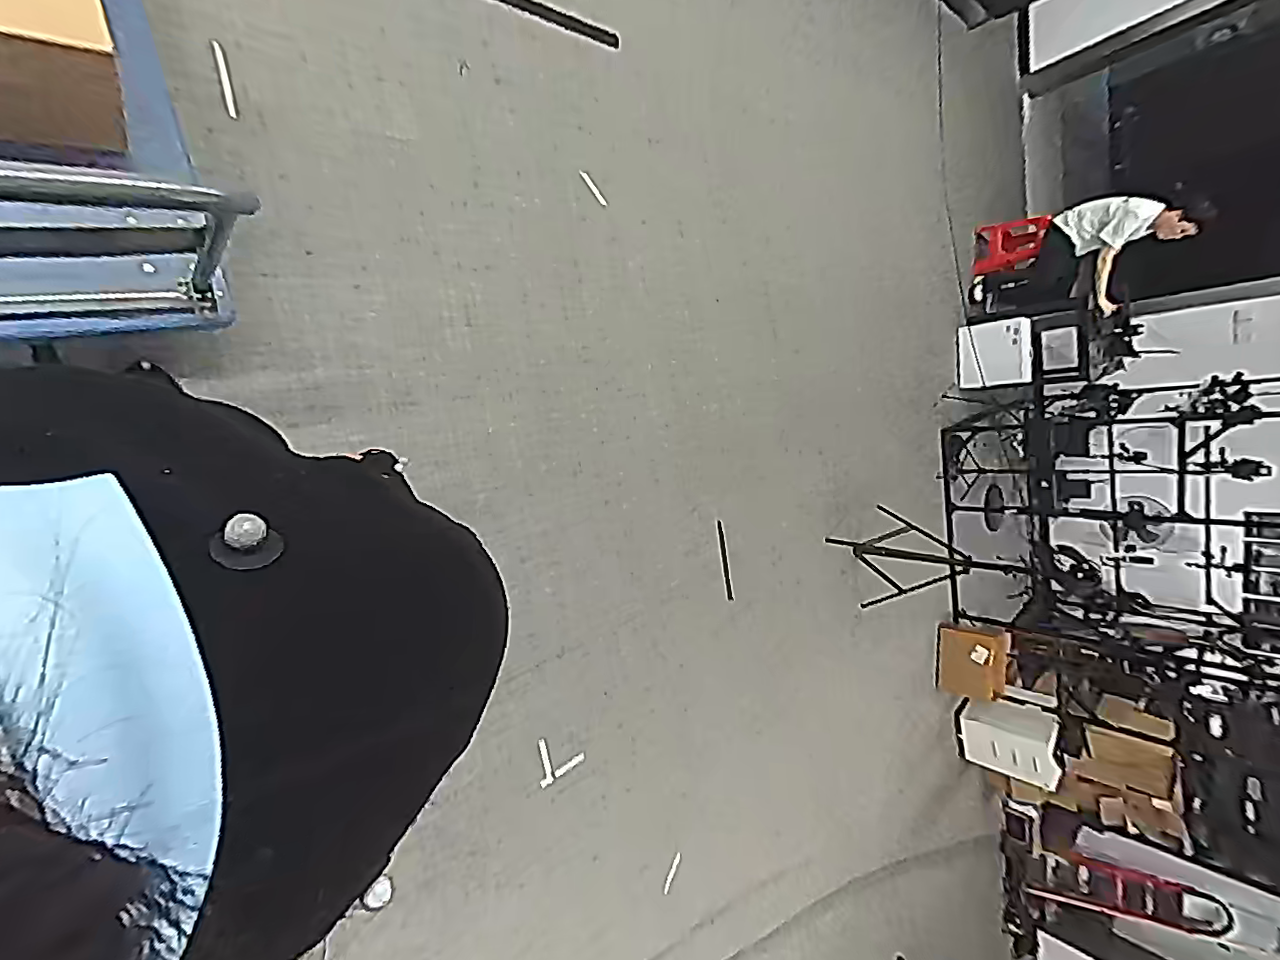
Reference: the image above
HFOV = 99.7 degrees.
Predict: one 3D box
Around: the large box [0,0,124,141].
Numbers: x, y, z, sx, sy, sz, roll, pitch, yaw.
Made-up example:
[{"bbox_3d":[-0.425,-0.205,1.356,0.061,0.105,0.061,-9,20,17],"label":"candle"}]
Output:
[{"bbox_3d":[-0.998,-0.696,0.705,0.408,0.320,0.320,-17,101,-39],"label":"large box"}]
